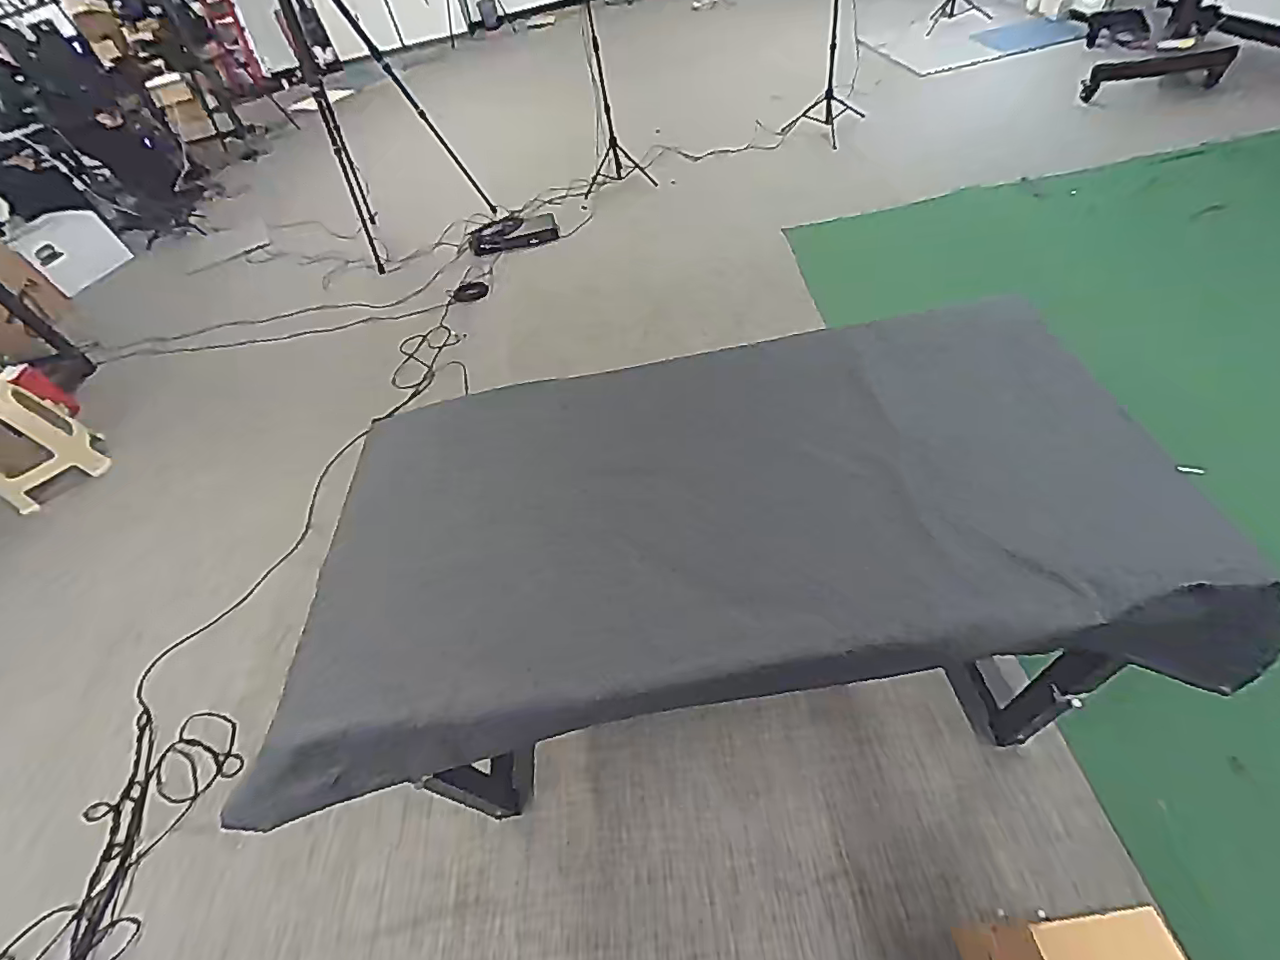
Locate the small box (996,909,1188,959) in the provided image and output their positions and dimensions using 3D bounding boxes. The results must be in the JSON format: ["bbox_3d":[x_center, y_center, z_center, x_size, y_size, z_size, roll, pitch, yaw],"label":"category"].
[{"bbox_3d":[0.645,0.712,0.750,0.179,0.176,0.168,-12,49,2],"label":"small box"}]
